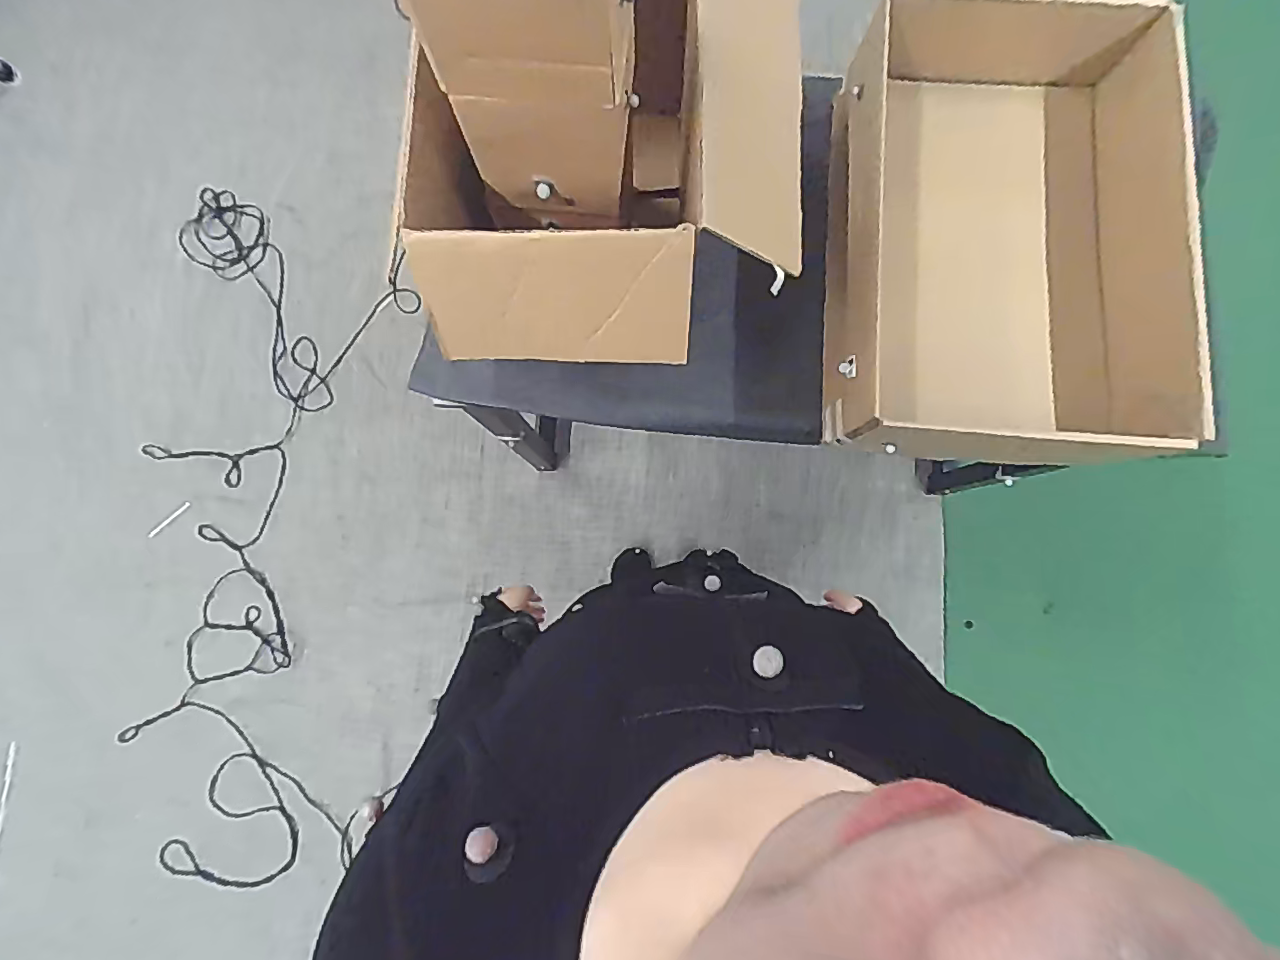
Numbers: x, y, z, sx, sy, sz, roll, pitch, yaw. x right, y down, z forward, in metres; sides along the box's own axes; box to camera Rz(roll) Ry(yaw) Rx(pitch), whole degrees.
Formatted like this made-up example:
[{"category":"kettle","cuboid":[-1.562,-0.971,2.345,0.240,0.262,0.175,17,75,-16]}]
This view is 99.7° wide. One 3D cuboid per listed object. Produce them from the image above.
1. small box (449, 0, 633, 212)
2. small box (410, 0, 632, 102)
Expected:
[{"category":"small box","cuboid":[-0.099,-0.443,0.616,0.168,0.176,0.179,6,84,1]},{"category":"small box","cuboid":[-0.100,-0.461,0.456,0.179,0.176,0.168,7,83,0]}]
